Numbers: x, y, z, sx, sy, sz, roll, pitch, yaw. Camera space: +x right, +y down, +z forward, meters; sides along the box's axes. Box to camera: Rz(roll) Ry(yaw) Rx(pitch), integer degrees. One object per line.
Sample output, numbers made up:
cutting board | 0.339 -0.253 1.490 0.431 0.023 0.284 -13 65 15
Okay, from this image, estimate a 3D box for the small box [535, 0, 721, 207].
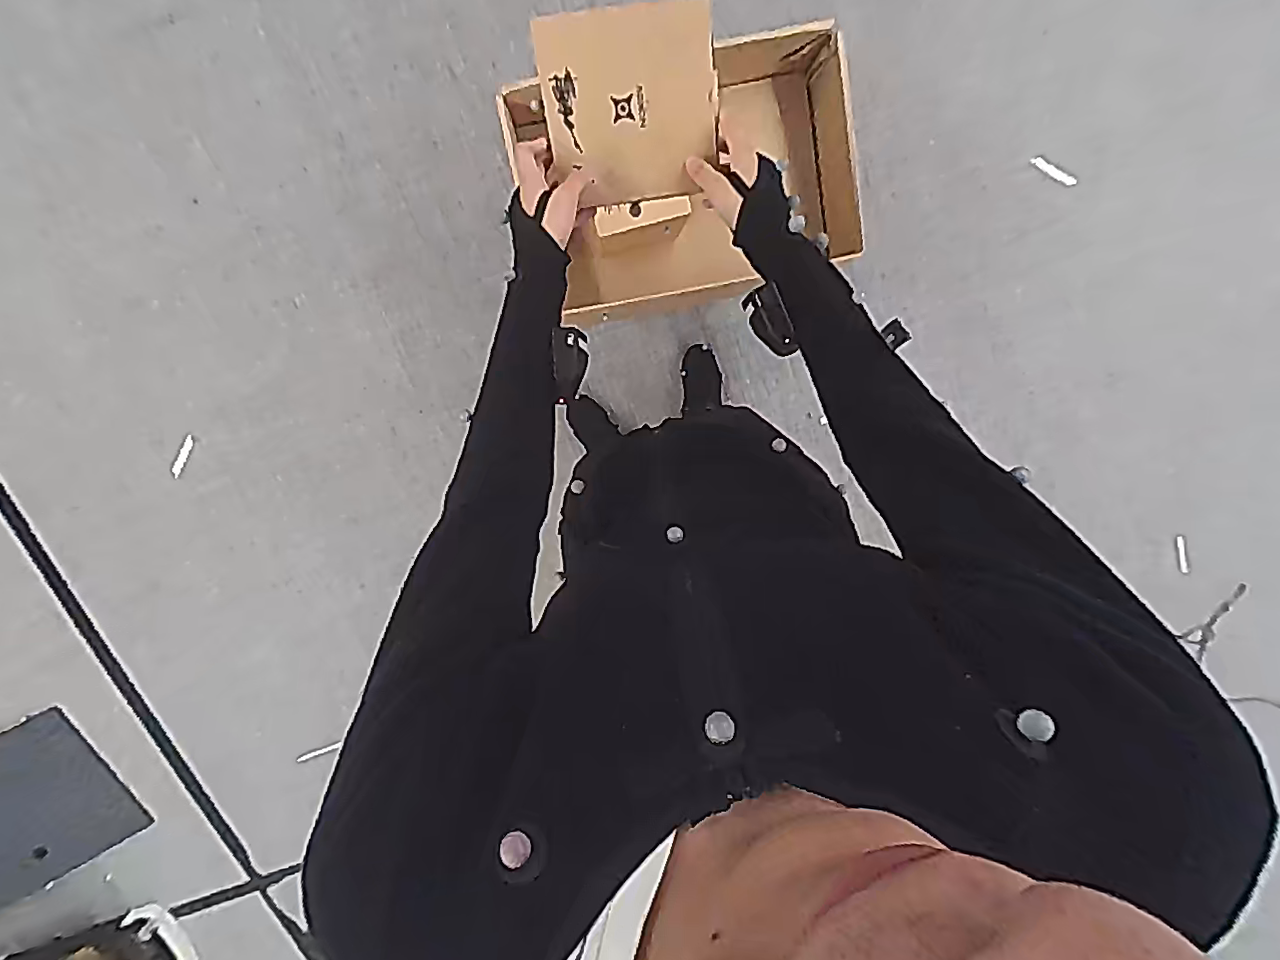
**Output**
small box | -0.013 -0.411 0.613 0.179 0.176 0.168 -8 116 -1
